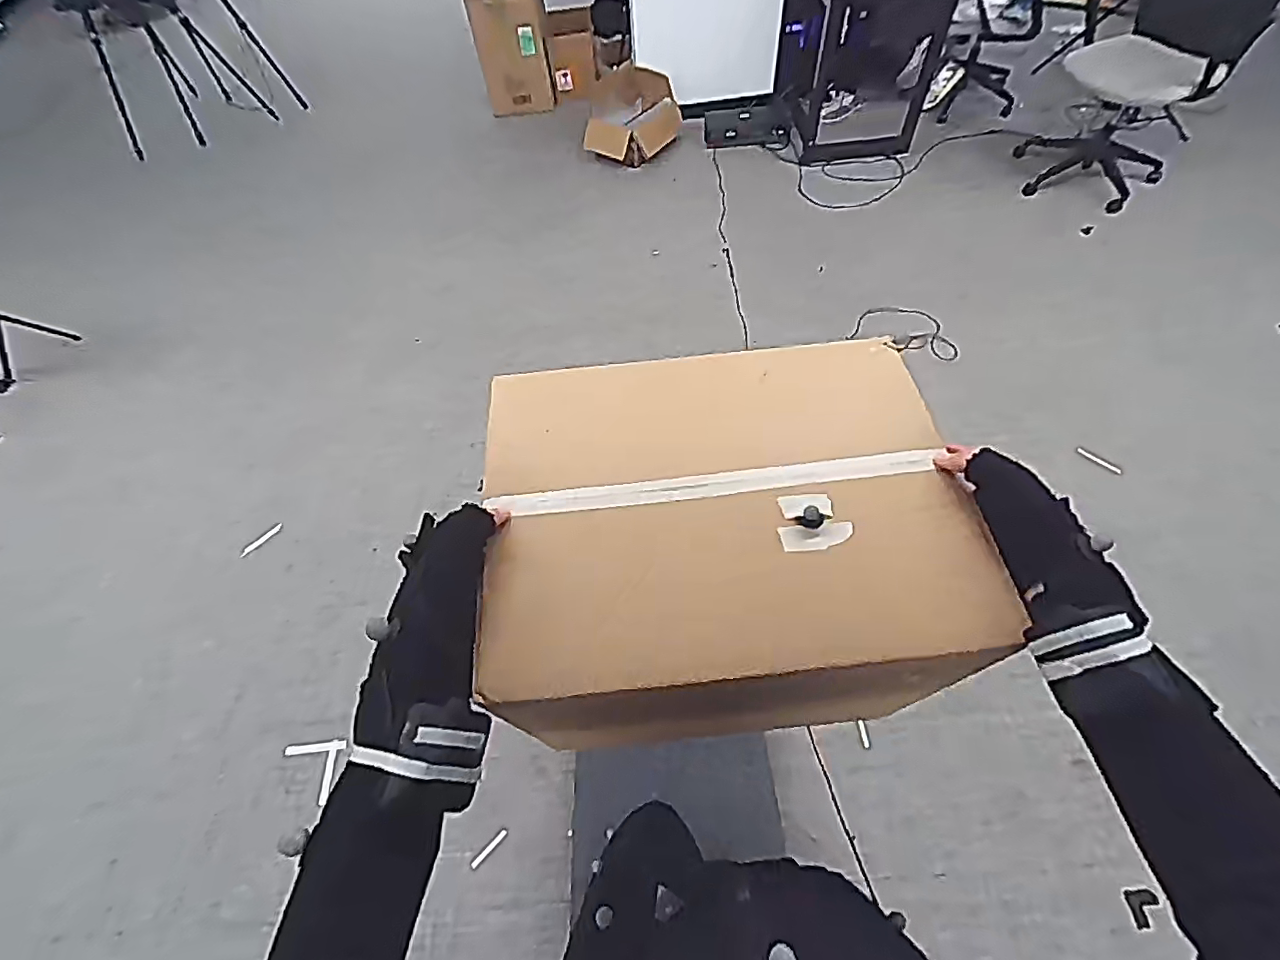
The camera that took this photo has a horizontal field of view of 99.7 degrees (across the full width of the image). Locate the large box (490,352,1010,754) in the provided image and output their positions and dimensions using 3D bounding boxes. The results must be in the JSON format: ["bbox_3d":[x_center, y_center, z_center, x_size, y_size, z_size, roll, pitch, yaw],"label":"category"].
[{"bbox_3d":[0.074,0.096,0.606,0.408,0.320,0.320,-6,58,-1],"label":"large box"}]
